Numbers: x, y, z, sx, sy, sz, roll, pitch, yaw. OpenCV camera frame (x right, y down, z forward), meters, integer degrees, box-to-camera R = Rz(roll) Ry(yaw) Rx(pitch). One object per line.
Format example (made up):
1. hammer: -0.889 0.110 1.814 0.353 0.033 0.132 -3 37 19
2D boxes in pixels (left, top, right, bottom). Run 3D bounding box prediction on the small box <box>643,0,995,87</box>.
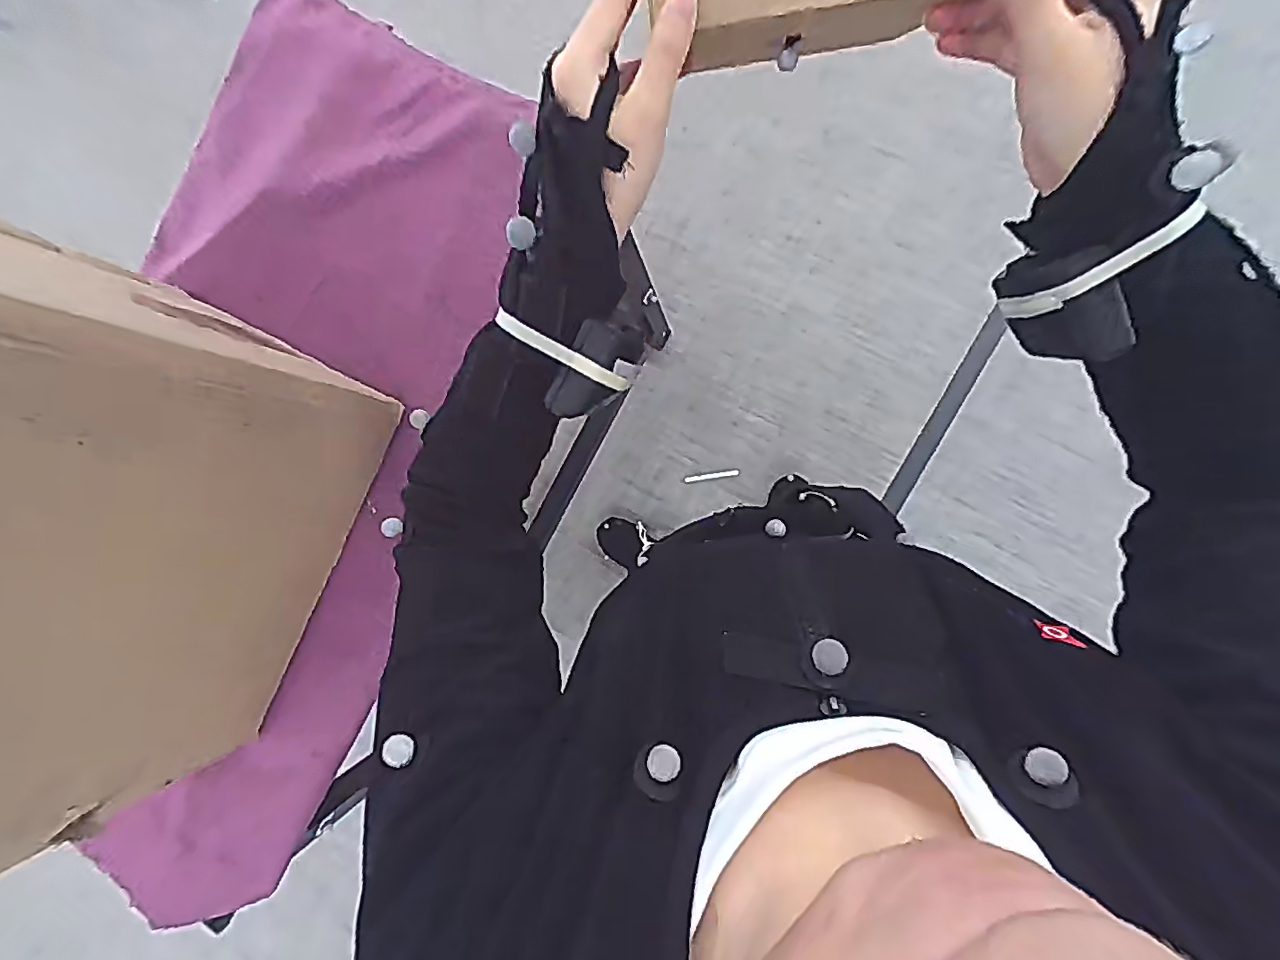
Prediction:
1. small box: 0.084 -0.333 0.292 0.179 0.176 0.168 -6 119 5
